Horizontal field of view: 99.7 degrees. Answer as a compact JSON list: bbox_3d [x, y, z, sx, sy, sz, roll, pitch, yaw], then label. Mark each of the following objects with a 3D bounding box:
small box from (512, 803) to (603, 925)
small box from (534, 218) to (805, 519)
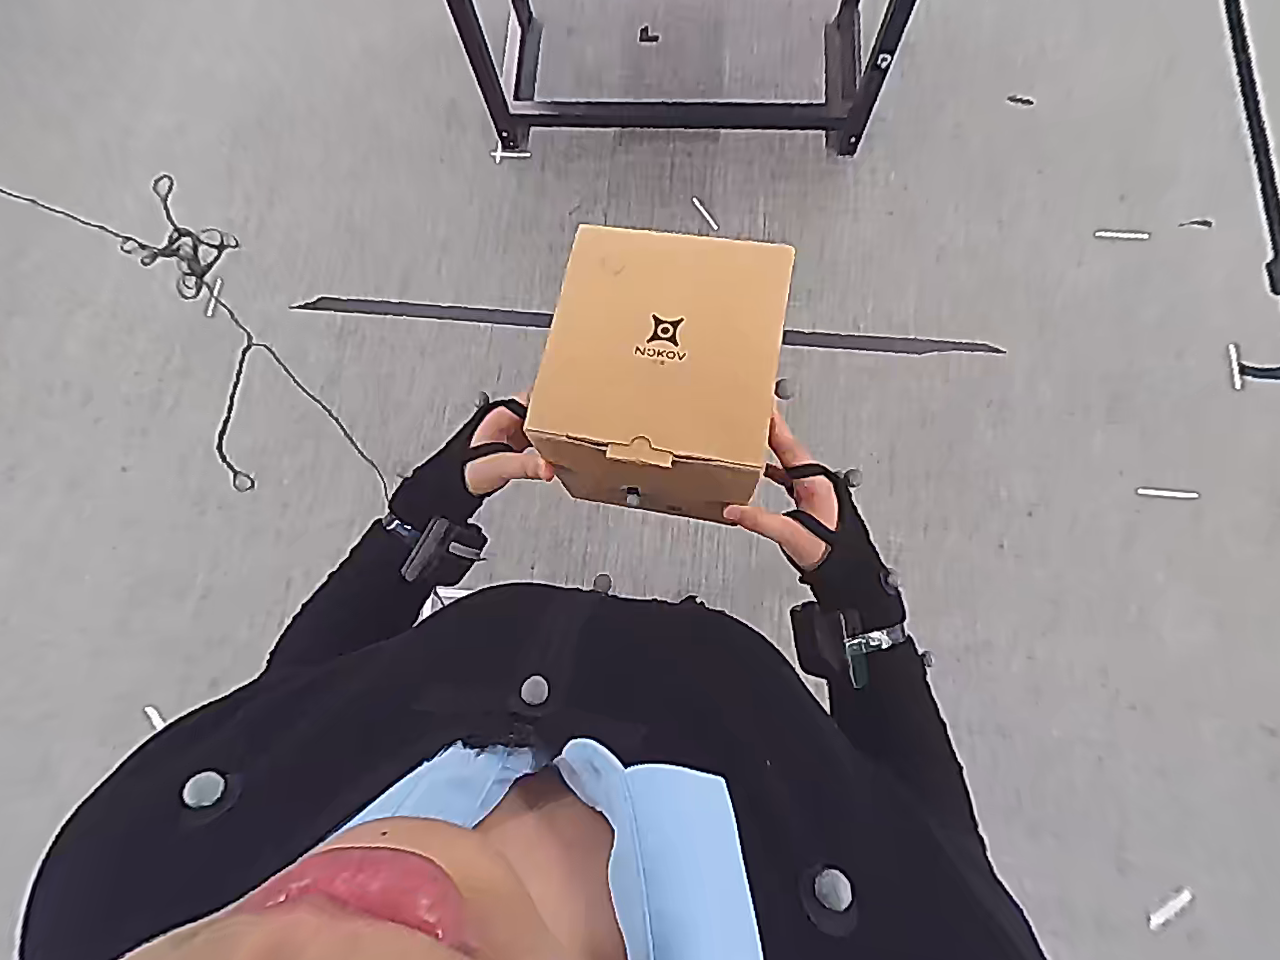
[{"bbox_3d":[-0.188,0.904,1.291,0.168,0.176,0.179,8,78,5],"label":"small box"},{"bbox_3d":[0.029,-0.080,0.451,0.168,0.176,0.179,9,74,7],"label":"small box"}]
